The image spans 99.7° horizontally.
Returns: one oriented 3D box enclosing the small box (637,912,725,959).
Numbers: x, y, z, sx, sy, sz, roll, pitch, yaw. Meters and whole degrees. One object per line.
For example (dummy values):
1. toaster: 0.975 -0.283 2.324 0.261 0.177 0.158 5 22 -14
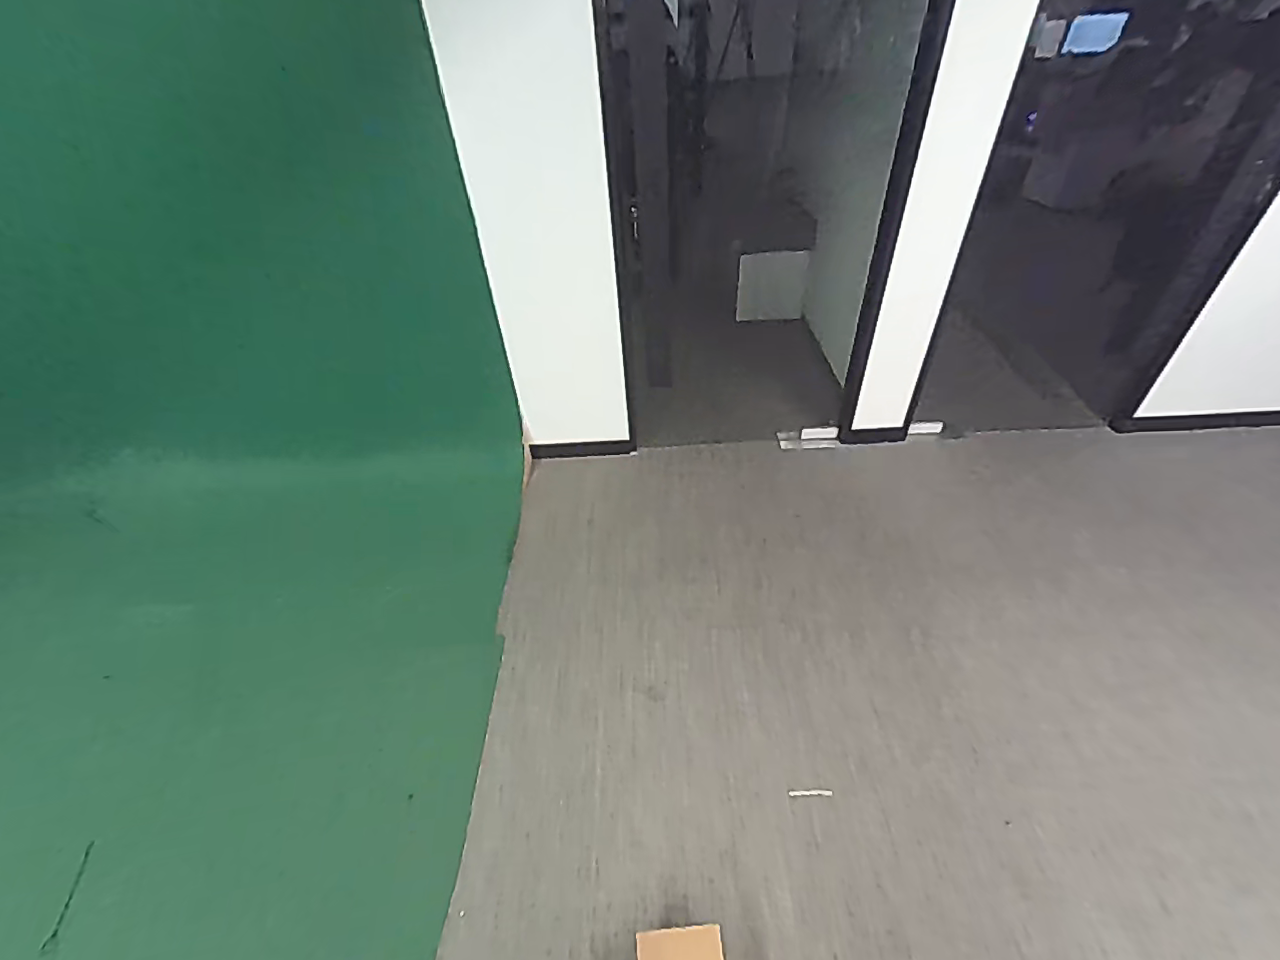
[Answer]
1. small box: 0.082 0.975 1.051 0.168 0.176 0.179 -5 41 0
